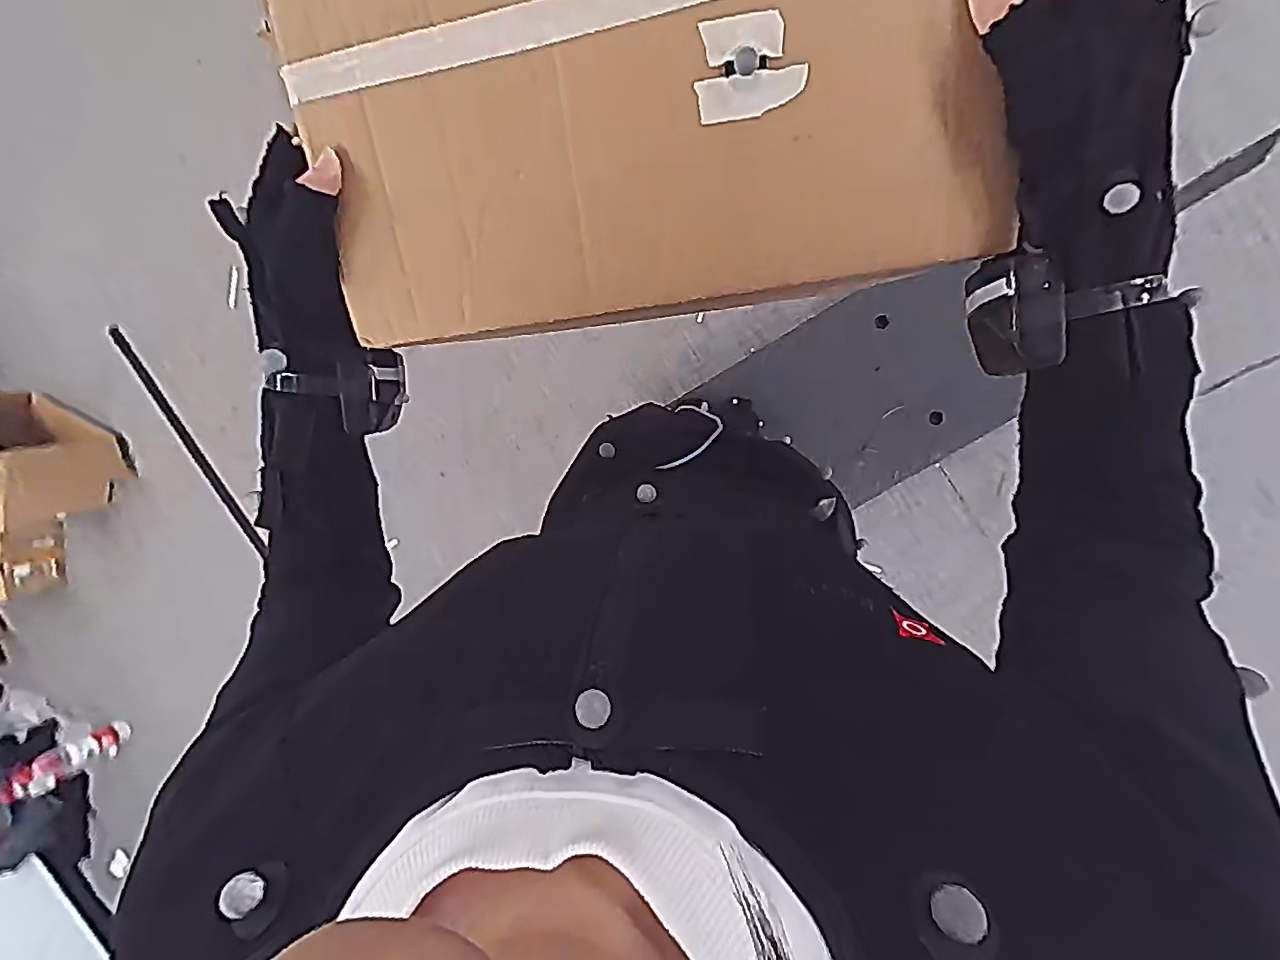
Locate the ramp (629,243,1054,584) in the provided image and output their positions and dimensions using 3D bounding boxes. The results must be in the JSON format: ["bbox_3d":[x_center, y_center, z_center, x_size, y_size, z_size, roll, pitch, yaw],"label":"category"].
[{"bbox_3d":[0.512,-0.179,1.415,0.991,0.206,0.509,-32,90,15],"label":"ramp"}]

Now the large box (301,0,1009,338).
[{"bbox_3d":[0.013,-0.307,0.448,0.408,0.320,0.320,-5,106,10],"label":"large box"}]
